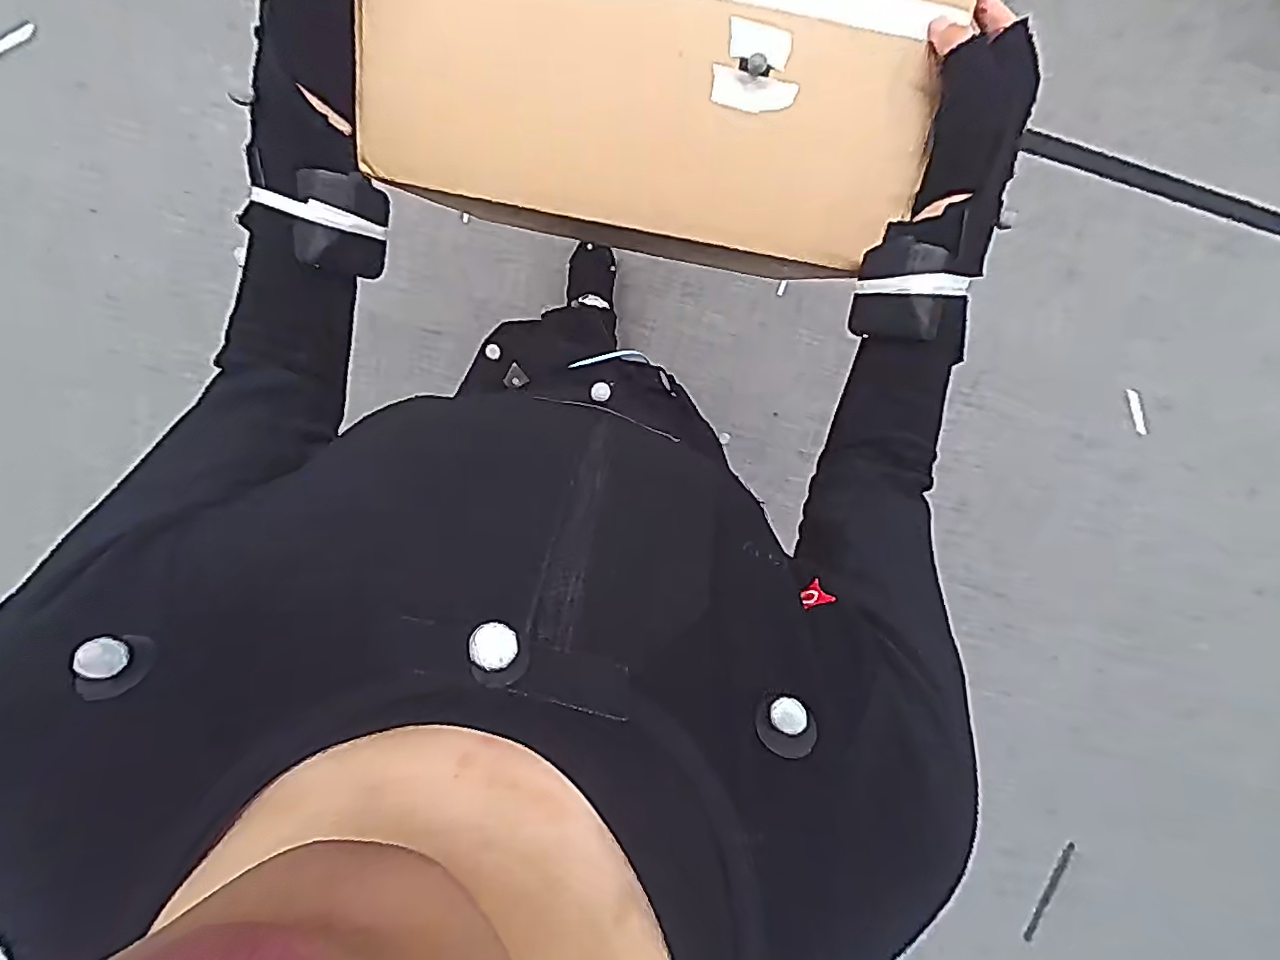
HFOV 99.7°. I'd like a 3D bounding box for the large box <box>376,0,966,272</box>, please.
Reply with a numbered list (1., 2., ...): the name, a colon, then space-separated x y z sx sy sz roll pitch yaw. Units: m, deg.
1. large box: 0.019 -0.390 0.504 0.408 0.320 0.320 9 111 -5
